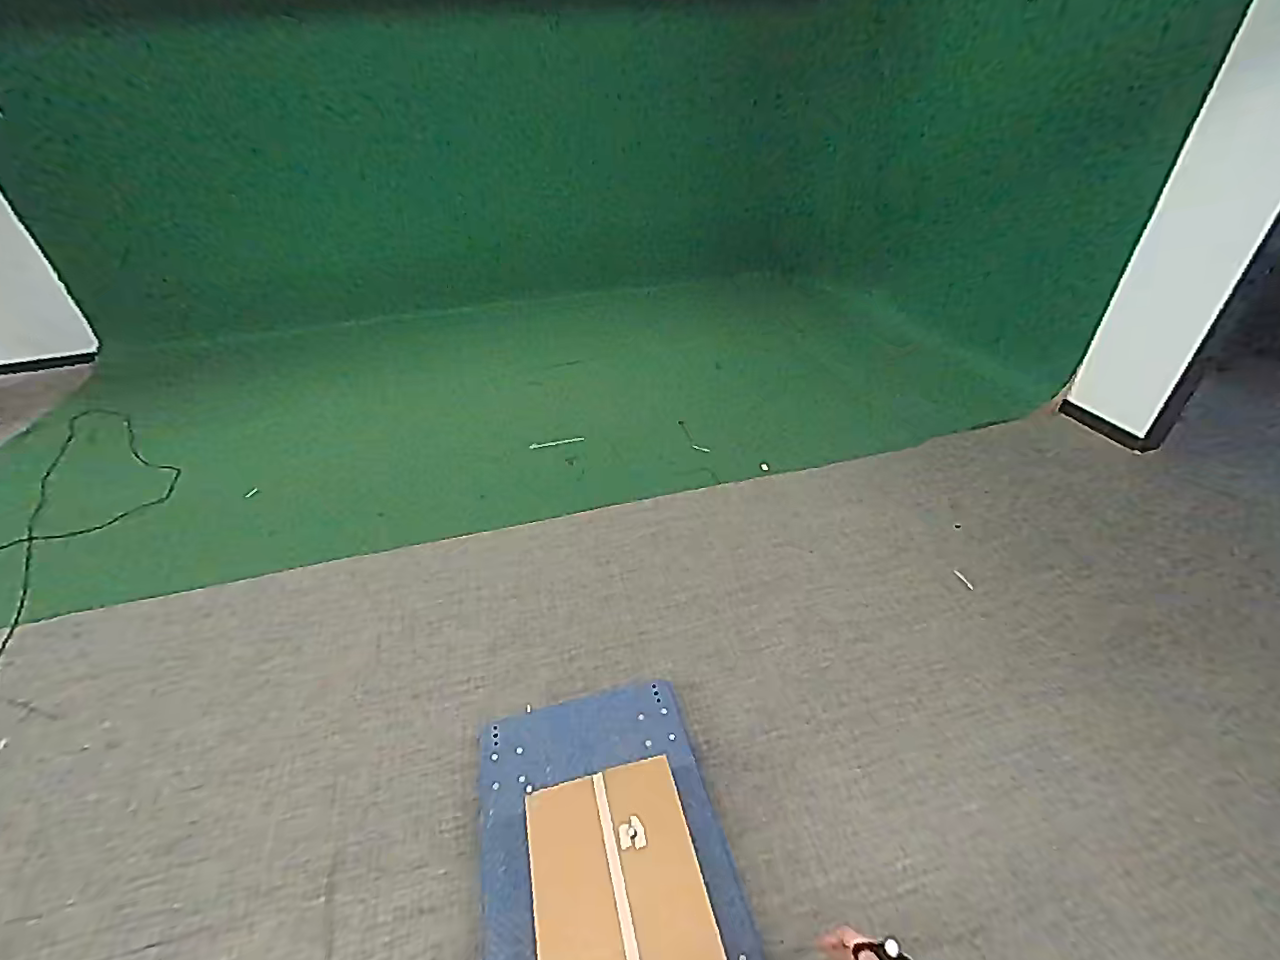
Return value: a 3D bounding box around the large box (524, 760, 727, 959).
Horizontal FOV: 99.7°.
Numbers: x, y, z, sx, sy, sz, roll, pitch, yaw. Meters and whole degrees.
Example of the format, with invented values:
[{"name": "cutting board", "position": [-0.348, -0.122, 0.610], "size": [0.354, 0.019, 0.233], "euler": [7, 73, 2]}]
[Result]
[{"name": "large box", "position": [-0.037, 0.875, 1.093], "size": [0.320, 0.320, 0.408], "euler": [-10, 36, -11]}]
